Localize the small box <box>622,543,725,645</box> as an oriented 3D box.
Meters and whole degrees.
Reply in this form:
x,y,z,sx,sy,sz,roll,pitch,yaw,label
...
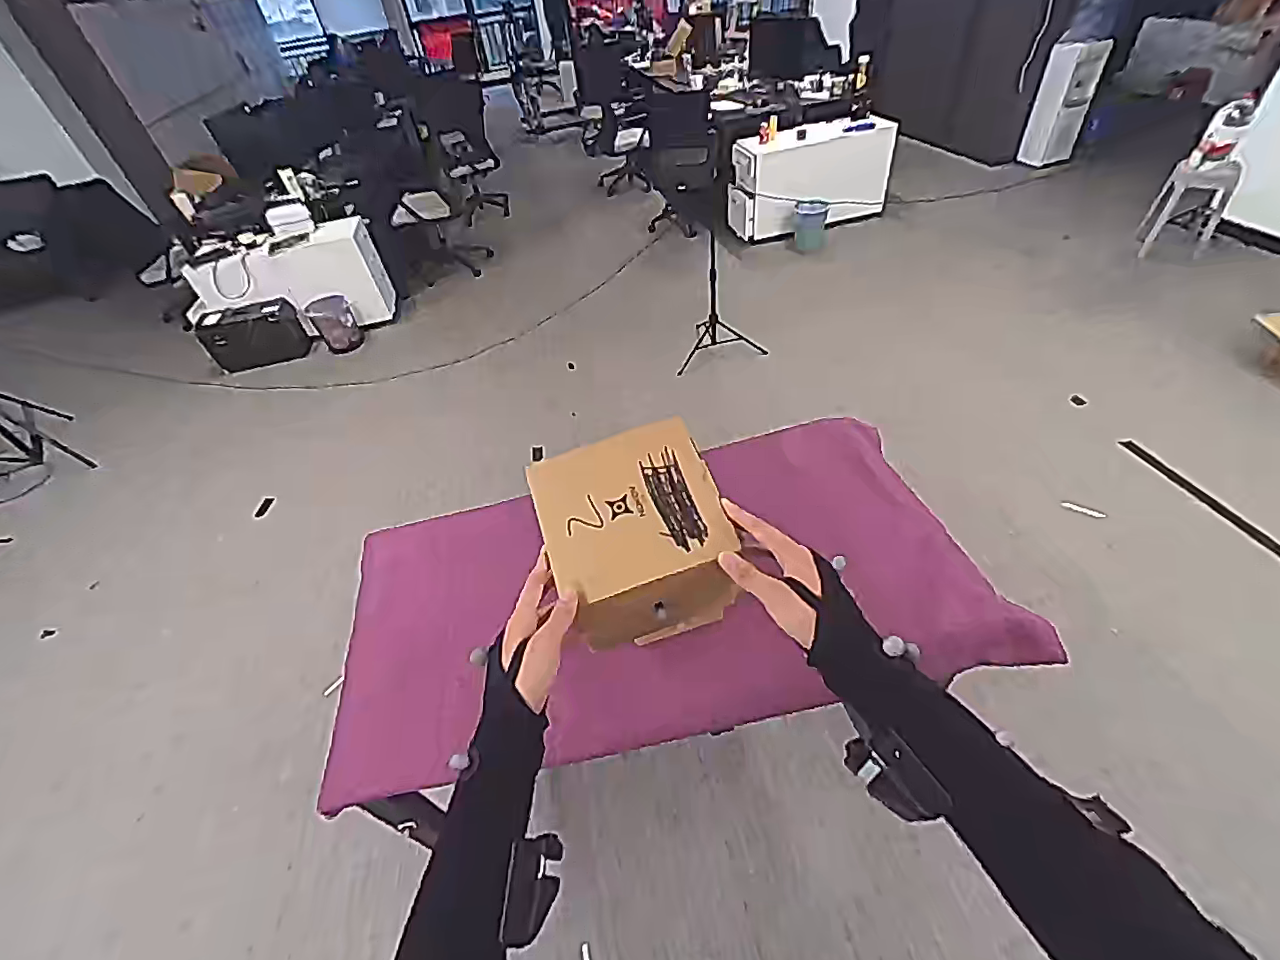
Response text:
x,y,z,sx,sy,sz,roll,pitch,yaw,label
0.048,0.180,1.014,0.179,0.176,0.168,-15,43,-7,small box

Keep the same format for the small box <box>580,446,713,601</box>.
x,y,z,sx,sy,sz,roll,pitch,yaw,label
0.013,0.074,0.893,0.179,0.176,0.168,-16,43,-7,small box
